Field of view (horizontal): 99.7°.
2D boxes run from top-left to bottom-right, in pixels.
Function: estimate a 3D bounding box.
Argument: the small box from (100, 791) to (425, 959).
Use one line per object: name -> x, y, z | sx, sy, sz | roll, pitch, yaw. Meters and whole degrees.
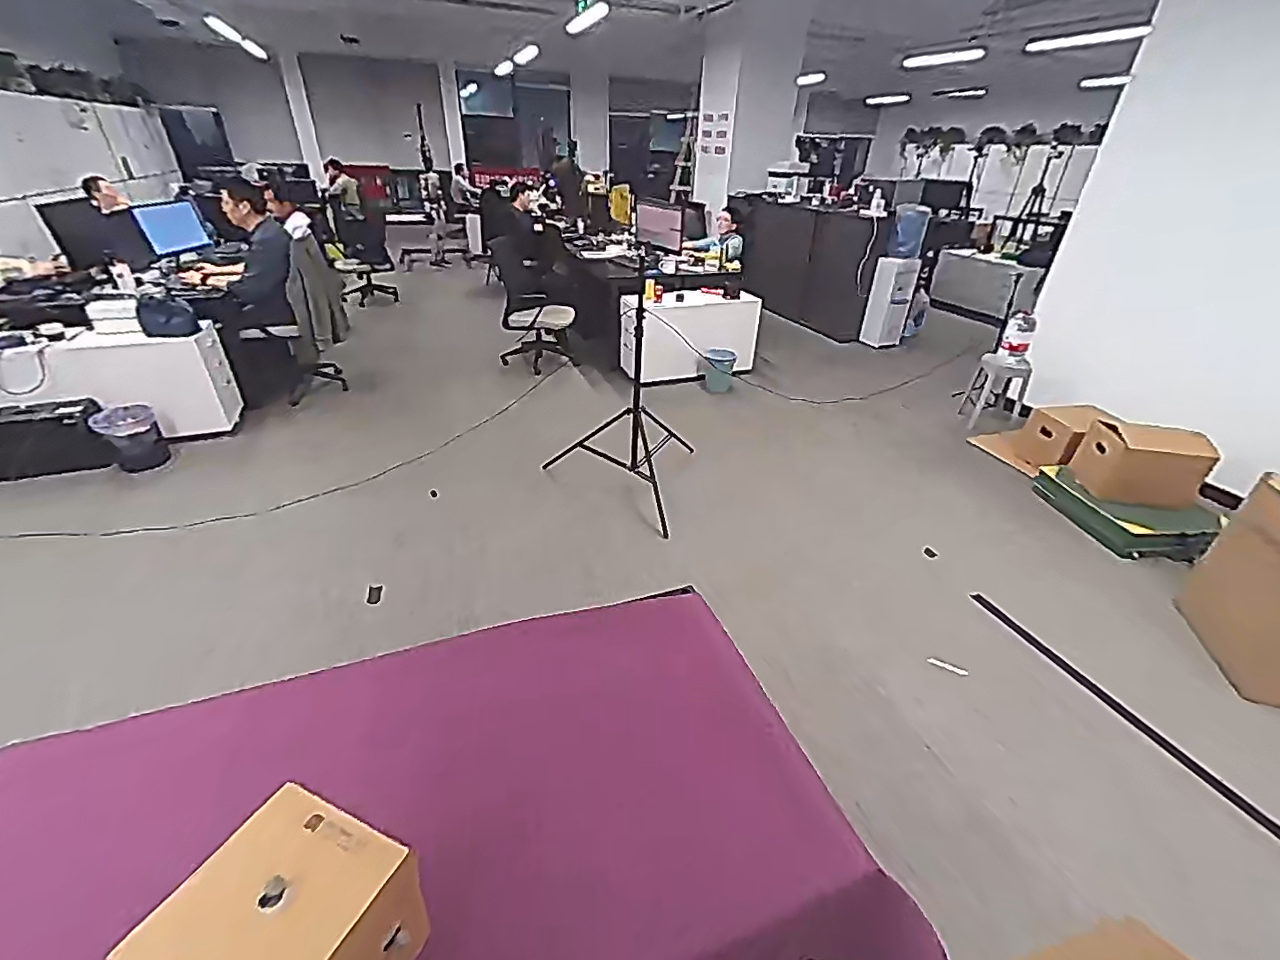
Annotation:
small box -> -0.328, 0.436, 0.503 | 0.168, 0.179, 0.176 | 15, 31, 18
